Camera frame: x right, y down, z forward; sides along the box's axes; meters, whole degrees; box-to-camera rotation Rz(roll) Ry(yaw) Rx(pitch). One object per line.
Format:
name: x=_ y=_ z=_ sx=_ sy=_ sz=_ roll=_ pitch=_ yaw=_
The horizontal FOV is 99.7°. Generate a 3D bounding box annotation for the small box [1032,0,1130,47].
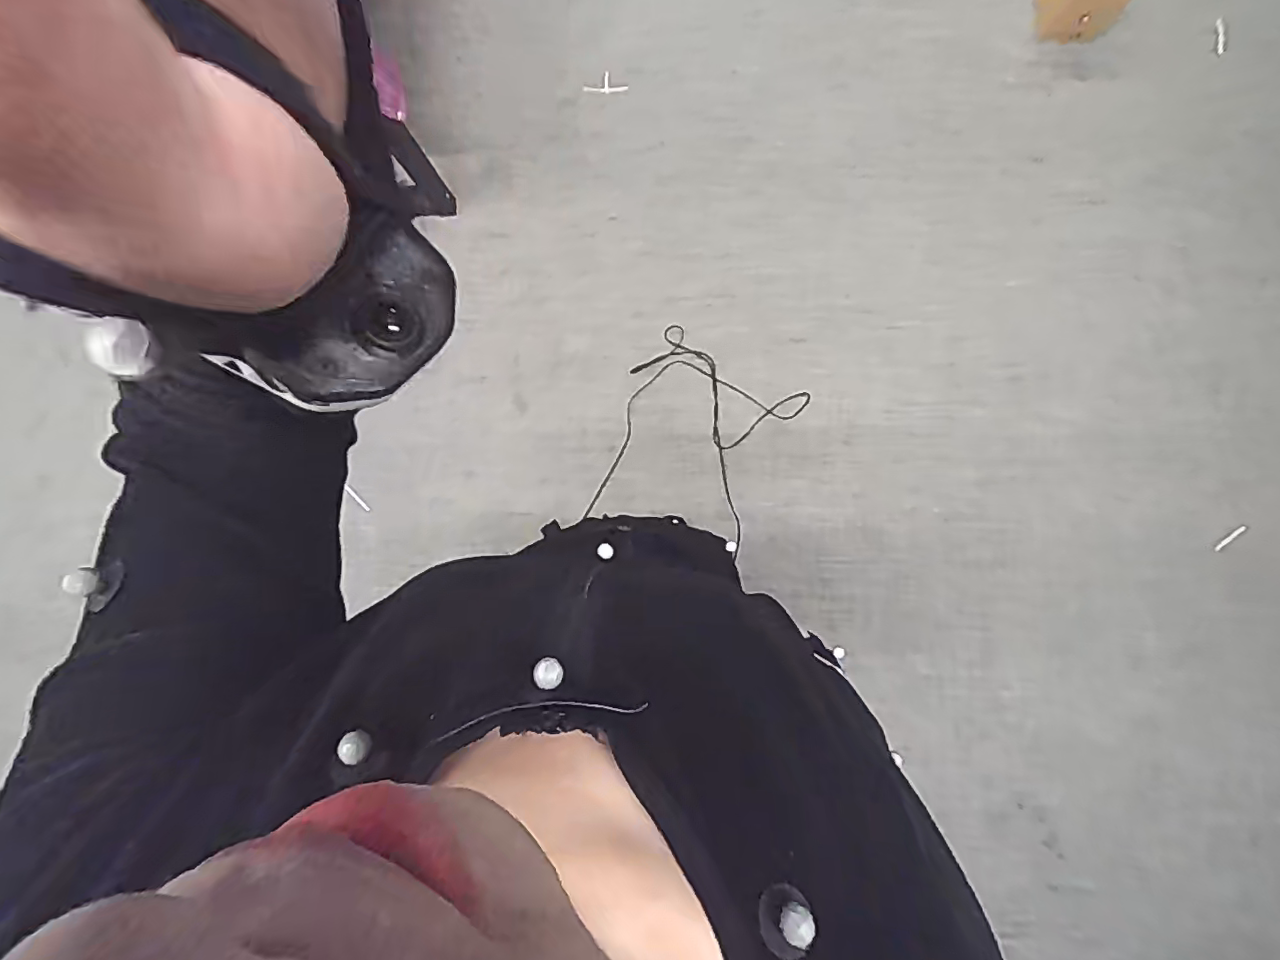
small box: x=1.214 y=-1.335 z=1.483 sx=0.168 sy=0.176 sz=0.179 roll=2 pitch=86 yaw=2
